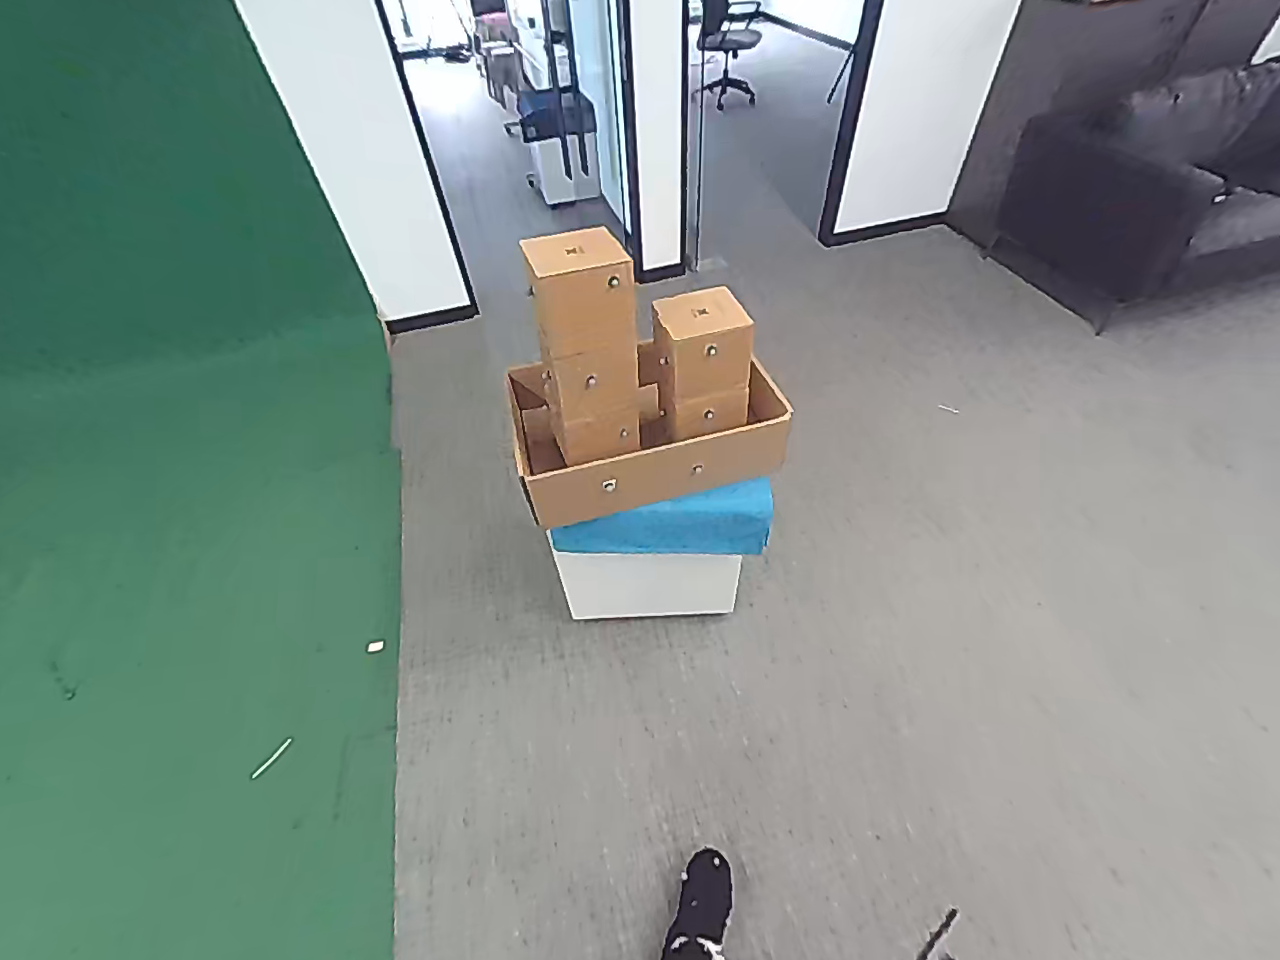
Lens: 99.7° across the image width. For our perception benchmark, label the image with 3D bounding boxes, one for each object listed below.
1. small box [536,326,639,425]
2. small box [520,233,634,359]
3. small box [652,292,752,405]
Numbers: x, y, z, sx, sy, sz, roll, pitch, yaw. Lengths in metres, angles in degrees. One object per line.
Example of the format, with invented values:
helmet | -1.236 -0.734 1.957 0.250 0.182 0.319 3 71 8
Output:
small box | -0.111 -0.242 1.169 0.179 0.176 0.168 -16 49 -12
small box | -0.118 -0.356 1.052 0.179 0.176 0.168 -16 48 -14
small box | 0.133 -0.285 1.190 0.179 0.176 0.168 -13 48 -7
